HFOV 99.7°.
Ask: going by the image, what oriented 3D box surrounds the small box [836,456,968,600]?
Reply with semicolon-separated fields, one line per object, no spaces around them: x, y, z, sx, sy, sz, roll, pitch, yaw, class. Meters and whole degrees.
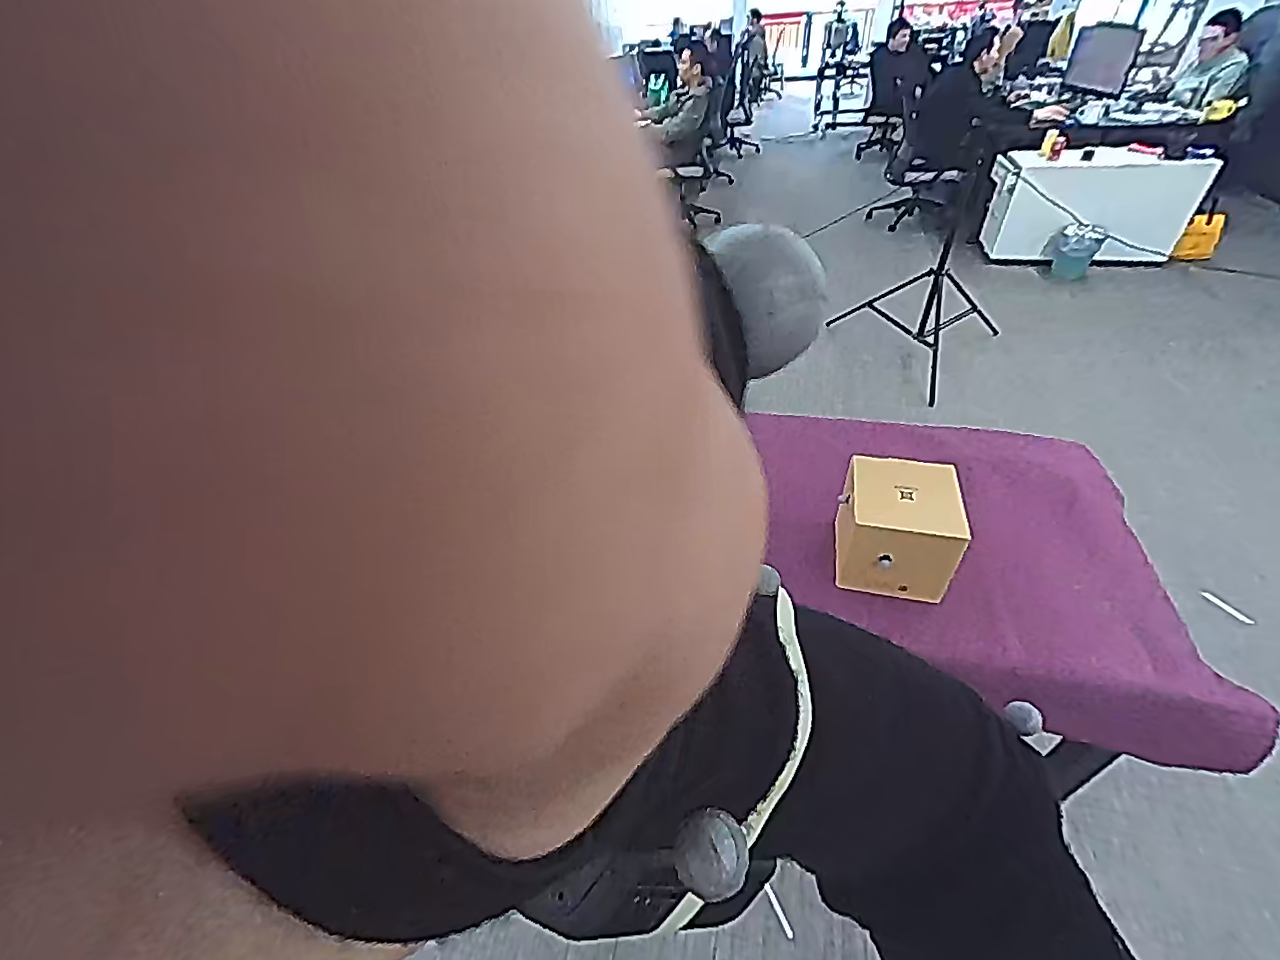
0.439;0.083;0.933;0.168;0.176;0.179;7;42;14;small box
